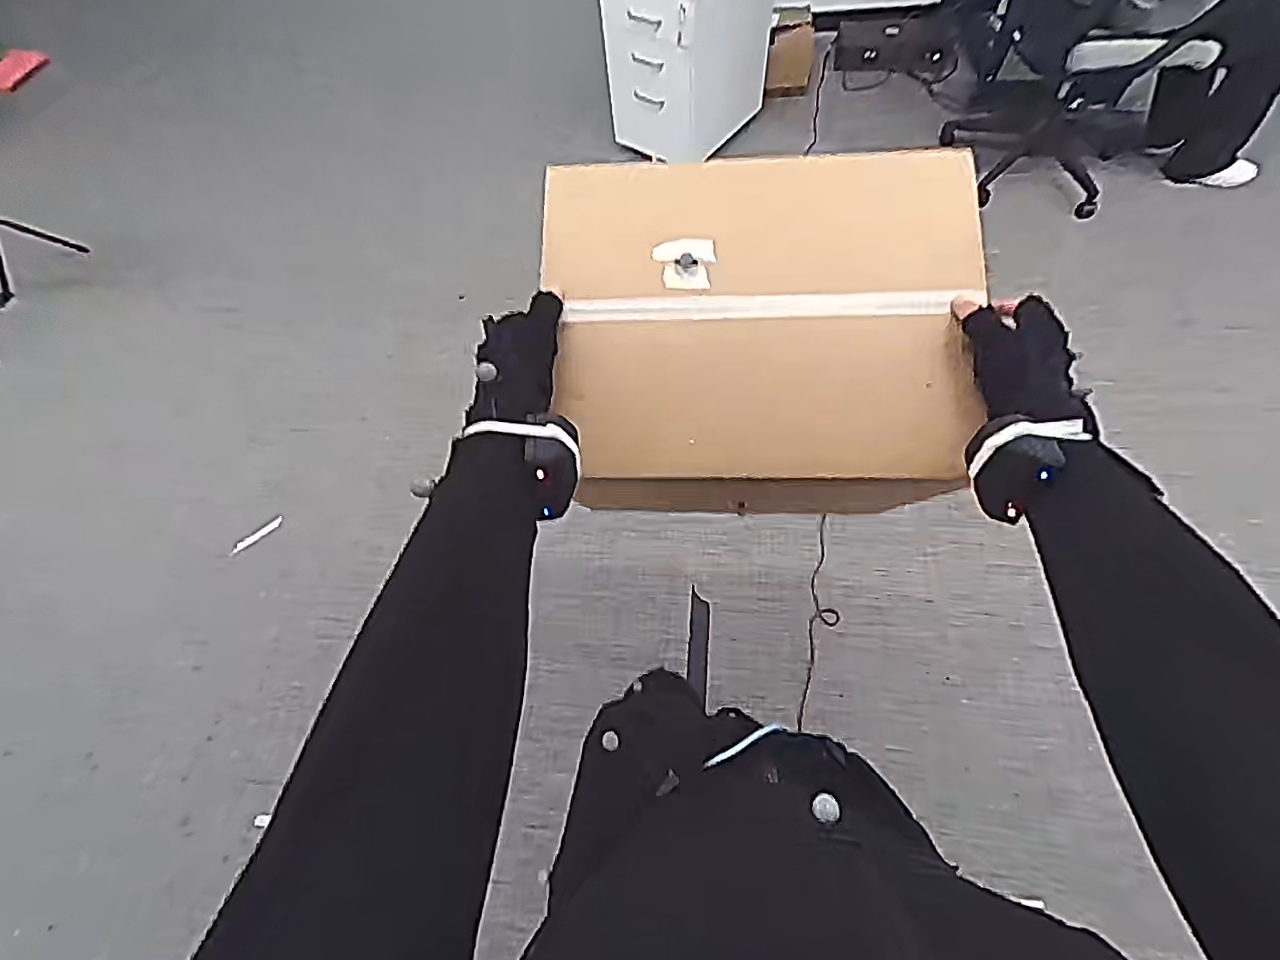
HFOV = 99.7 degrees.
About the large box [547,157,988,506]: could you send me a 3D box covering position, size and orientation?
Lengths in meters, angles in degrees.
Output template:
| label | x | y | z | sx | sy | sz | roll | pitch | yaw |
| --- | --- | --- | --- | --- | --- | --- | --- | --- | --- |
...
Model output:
| label | x | y | z | sx | sy | sz | roll | pitch | yaw |
| --- | --- | --- | --- | --- | --- | --- | --- | --- | --- |
| large box | 0.124 | -0.134 | 0.659 | 0.408 | 0.320 | 0.320 | 0 | 81 | 5 |
